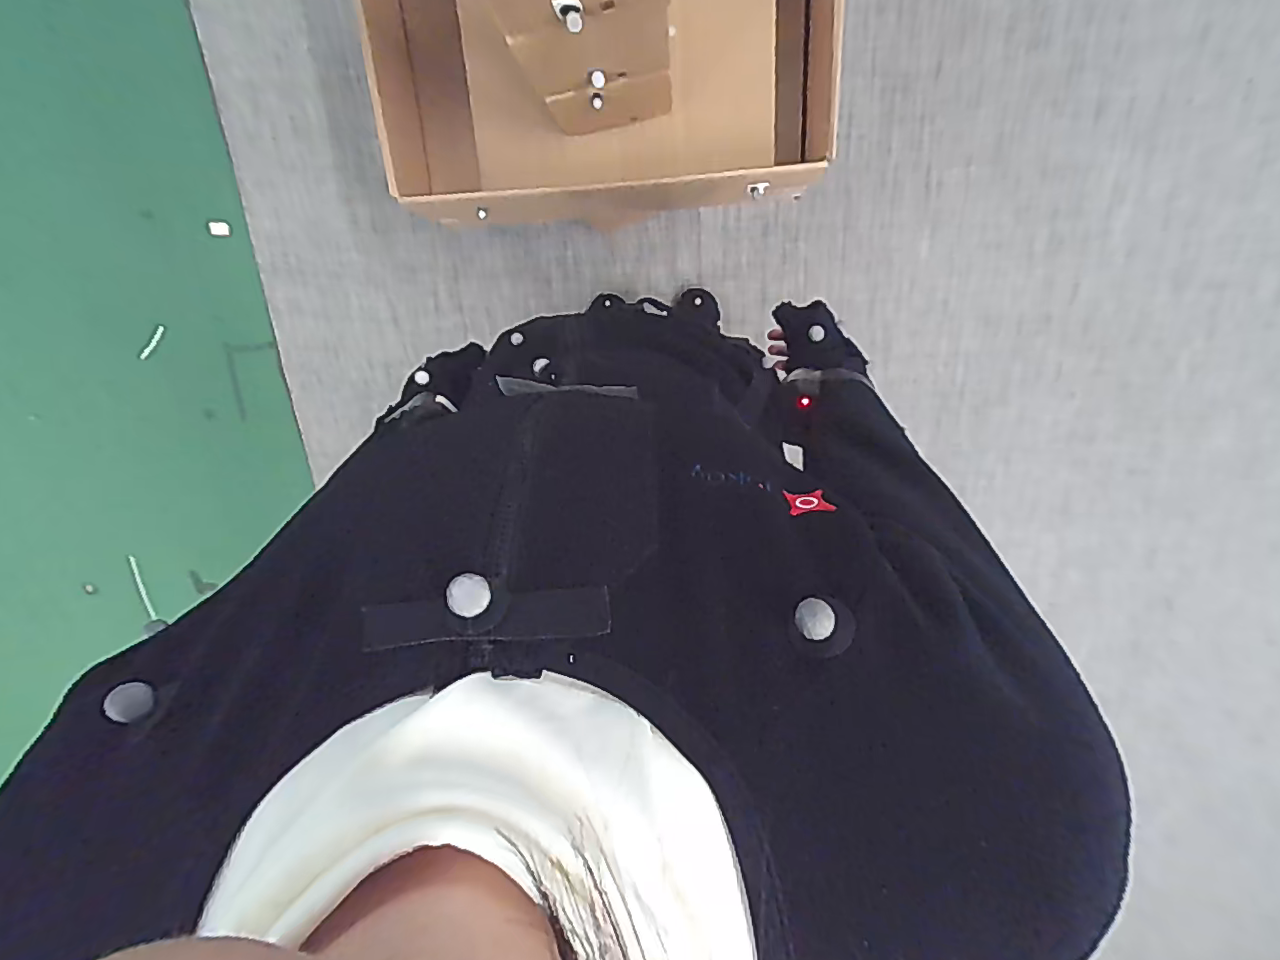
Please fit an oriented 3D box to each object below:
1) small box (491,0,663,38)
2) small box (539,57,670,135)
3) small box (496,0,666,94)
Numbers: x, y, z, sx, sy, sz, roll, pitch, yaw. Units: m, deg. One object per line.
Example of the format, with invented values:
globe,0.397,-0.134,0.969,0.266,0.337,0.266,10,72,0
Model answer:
small box,-0.070,-0.500,0.425,0.168,0.176,0.179,-7,109,8
small box,-0.053,-0.604,0.733,0.168,0.176,0.179,-8,107,8
small box,-0.064,-0.554,0.577,0.168,0.176,0.179,-7,109,7
